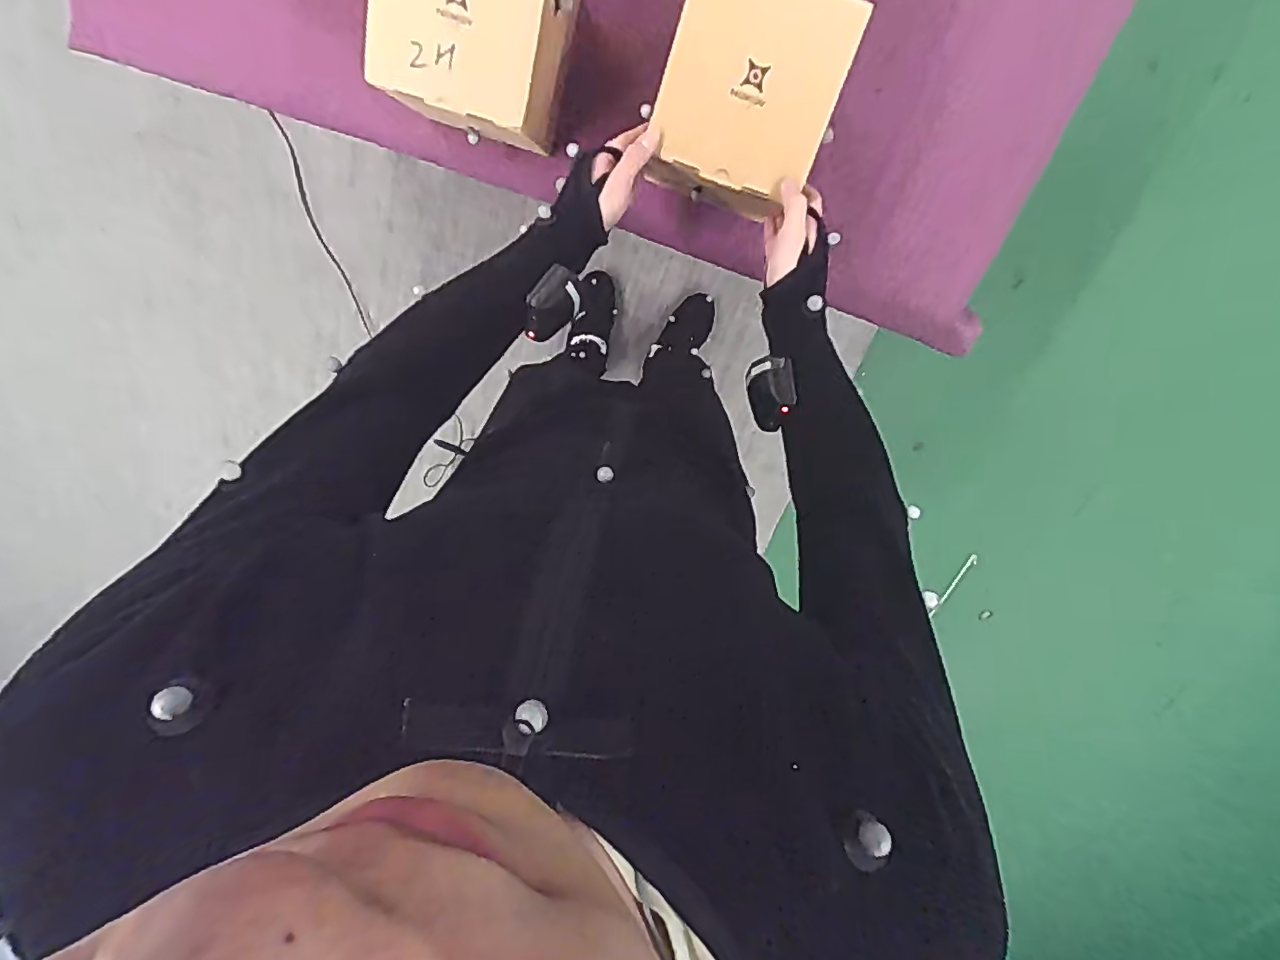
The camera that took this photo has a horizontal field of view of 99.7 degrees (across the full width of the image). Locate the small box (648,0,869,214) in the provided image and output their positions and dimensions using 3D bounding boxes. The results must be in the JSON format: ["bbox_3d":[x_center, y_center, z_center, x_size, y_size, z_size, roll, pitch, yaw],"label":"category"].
[{"bbox_3d":[0.108,-0.411,0.588,0.168,0.176,0.179,17,112,-6],"label":"small box"}]

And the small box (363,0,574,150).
[{"bbox_3d":[-0.174,-0.492,0.590,0.168,0.176,0.179,16,113,-6],"label":"small box"}]
